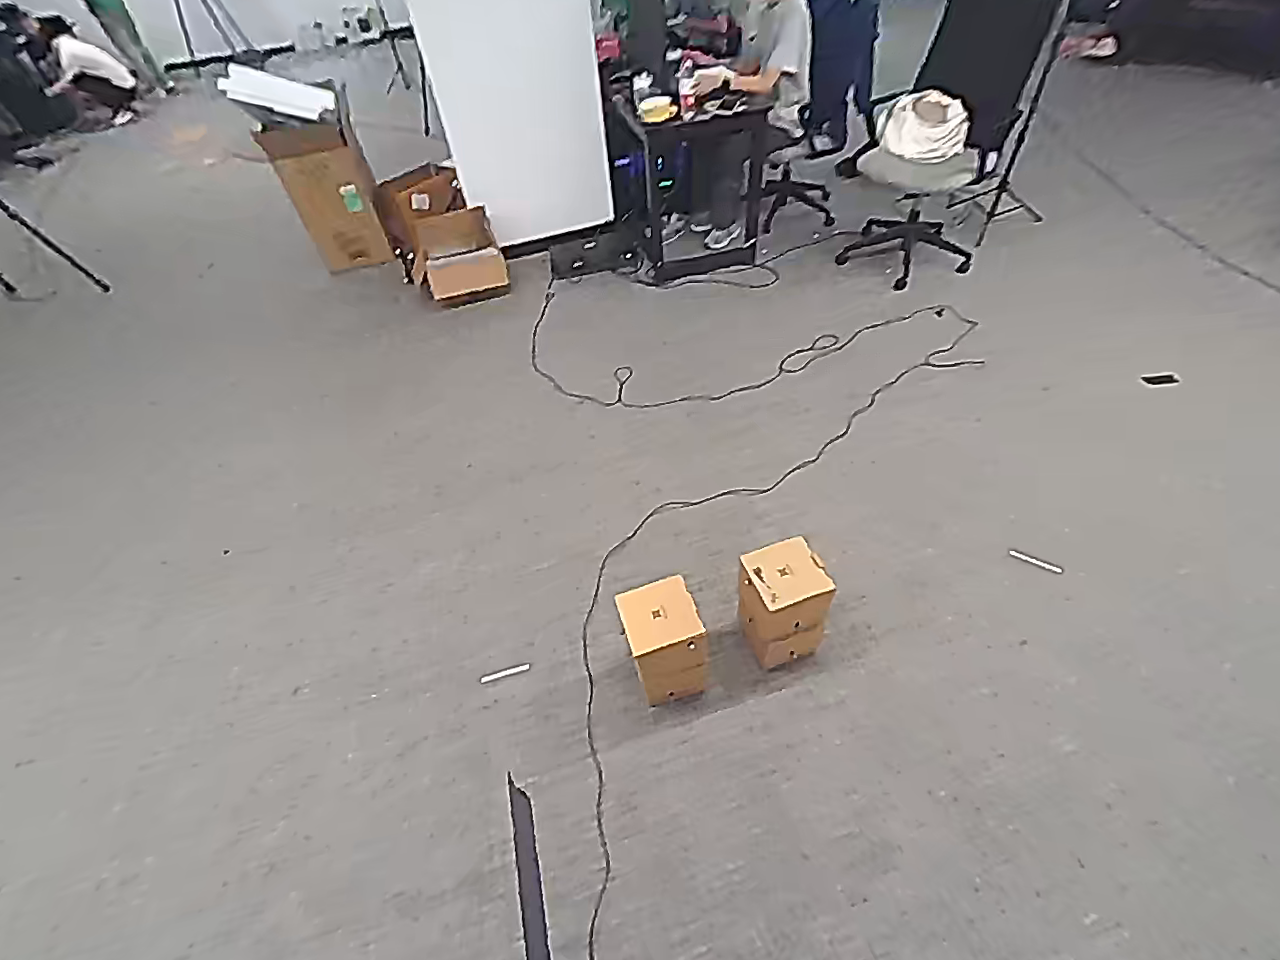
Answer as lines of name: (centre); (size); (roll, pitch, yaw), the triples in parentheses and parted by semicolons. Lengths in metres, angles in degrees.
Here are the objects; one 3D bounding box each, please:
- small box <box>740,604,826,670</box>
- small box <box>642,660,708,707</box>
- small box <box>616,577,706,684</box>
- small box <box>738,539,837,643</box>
small box: (0.383, 0.390, 1.487); (0.168, 0.176, 0.179); (-17, 49, -8)
small box: (0.077, 0.477, 1.448); (0.168, 0.176, 0.179); (-14, 50, -5)
small box: (0.054, 0.373, 1.325); (0.179, 0.176, 0.168); (-17, 49, -8)
small box: (0.362, 0.282, 1.364); (0.179, 0.176, 0.168); (-16, 49, -9)
